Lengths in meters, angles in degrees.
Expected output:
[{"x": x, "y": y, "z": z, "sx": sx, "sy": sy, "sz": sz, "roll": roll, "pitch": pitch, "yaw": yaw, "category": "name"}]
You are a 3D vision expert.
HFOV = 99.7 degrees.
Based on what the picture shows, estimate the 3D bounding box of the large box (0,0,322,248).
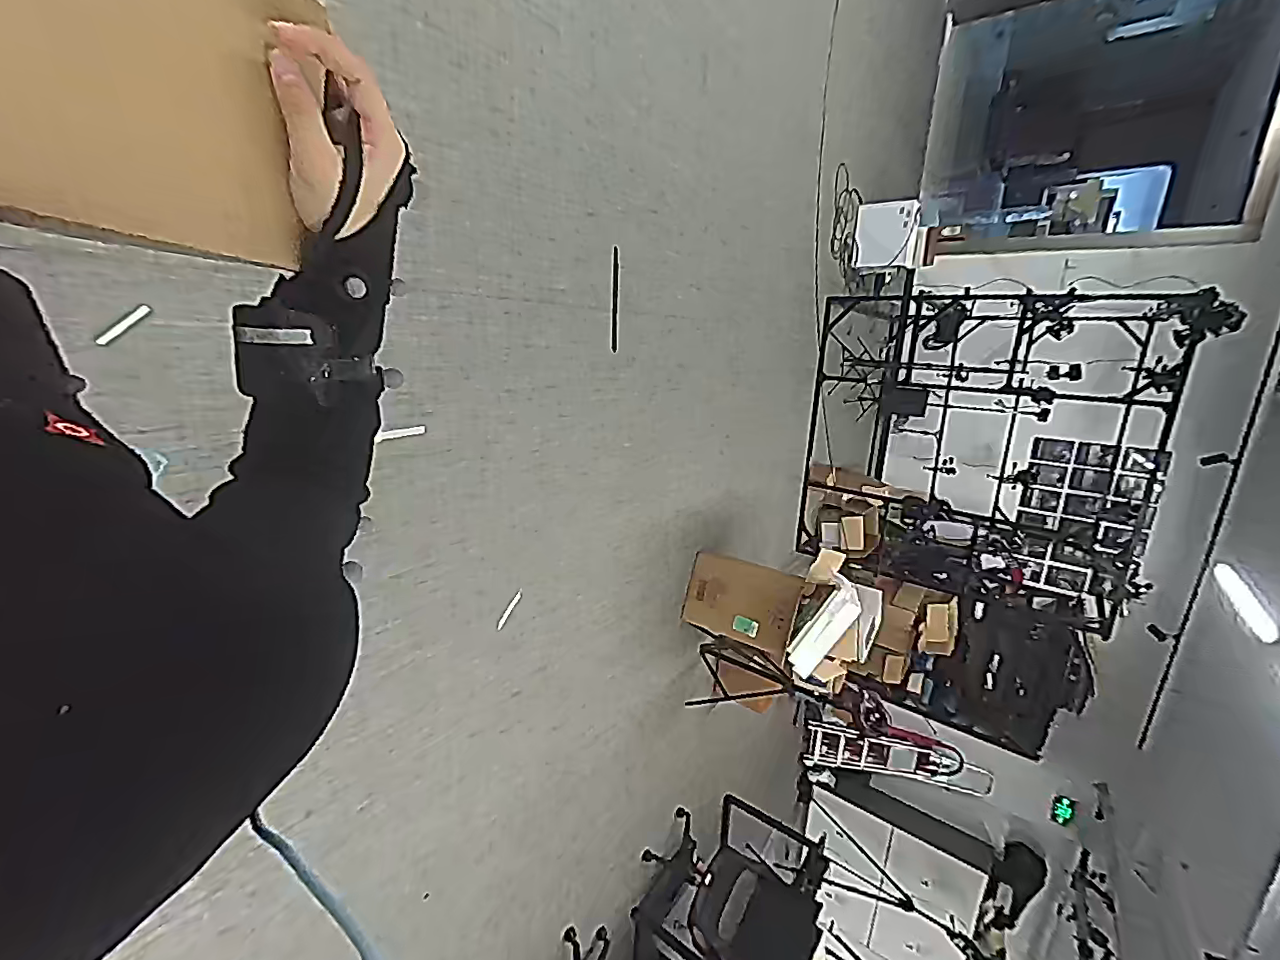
[{"x": -0.413, "y": -0.309, "z": 0.213, "sx": 0.408, "sy": 0.320, "sz": 0.320, "roll": -13, "pitch": 117, "yaw": -60, "category": "large box"}]
